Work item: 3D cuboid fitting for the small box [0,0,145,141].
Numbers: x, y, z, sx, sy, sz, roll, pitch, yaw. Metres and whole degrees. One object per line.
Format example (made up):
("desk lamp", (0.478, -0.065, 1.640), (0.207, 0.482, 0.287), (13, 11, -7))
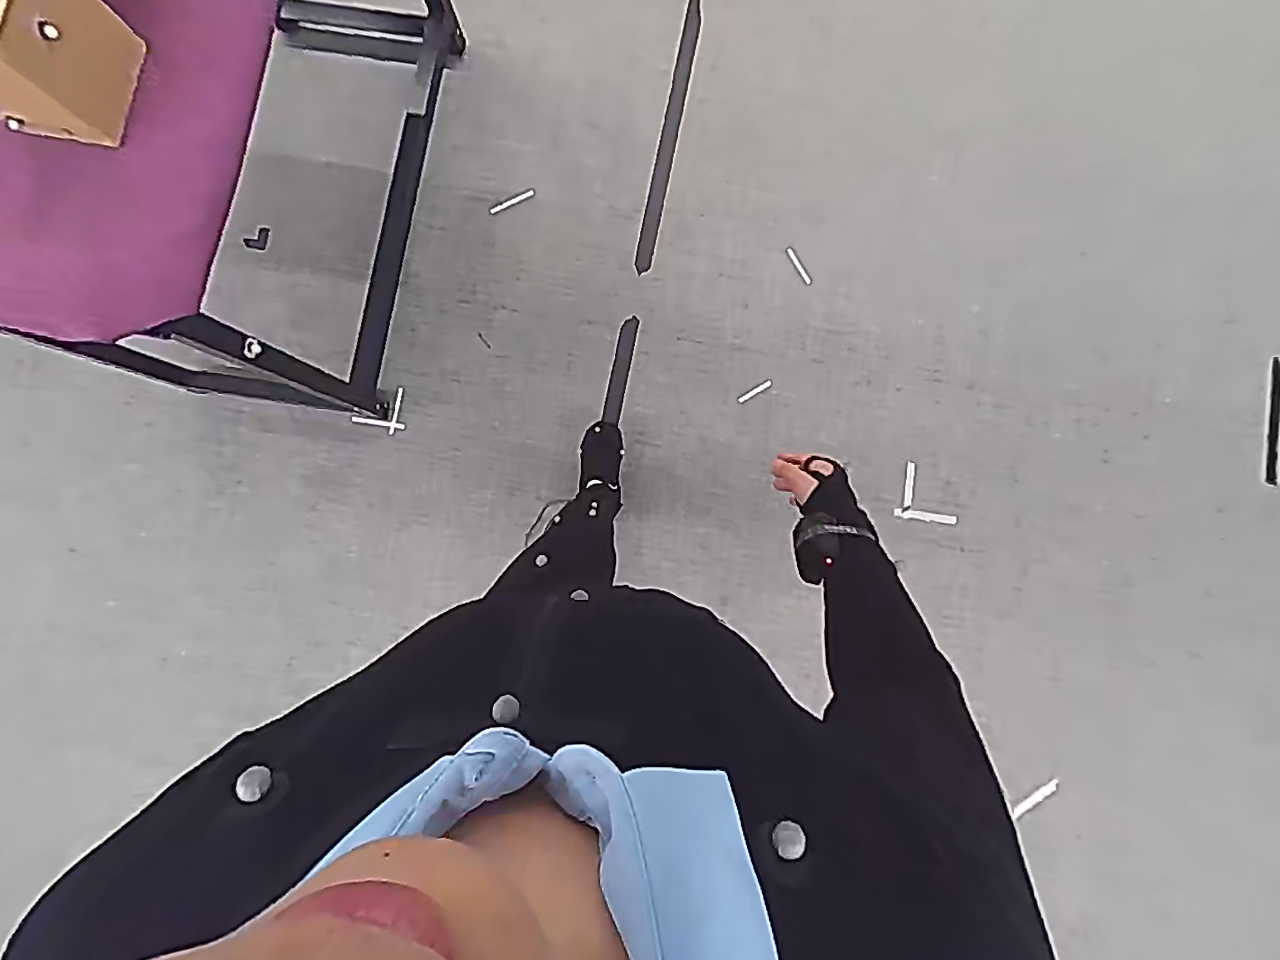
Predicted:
("small box", (-0.860, -0.620, 0.761), (0.168, 0.176, 0.179), (10, 84, 1))
